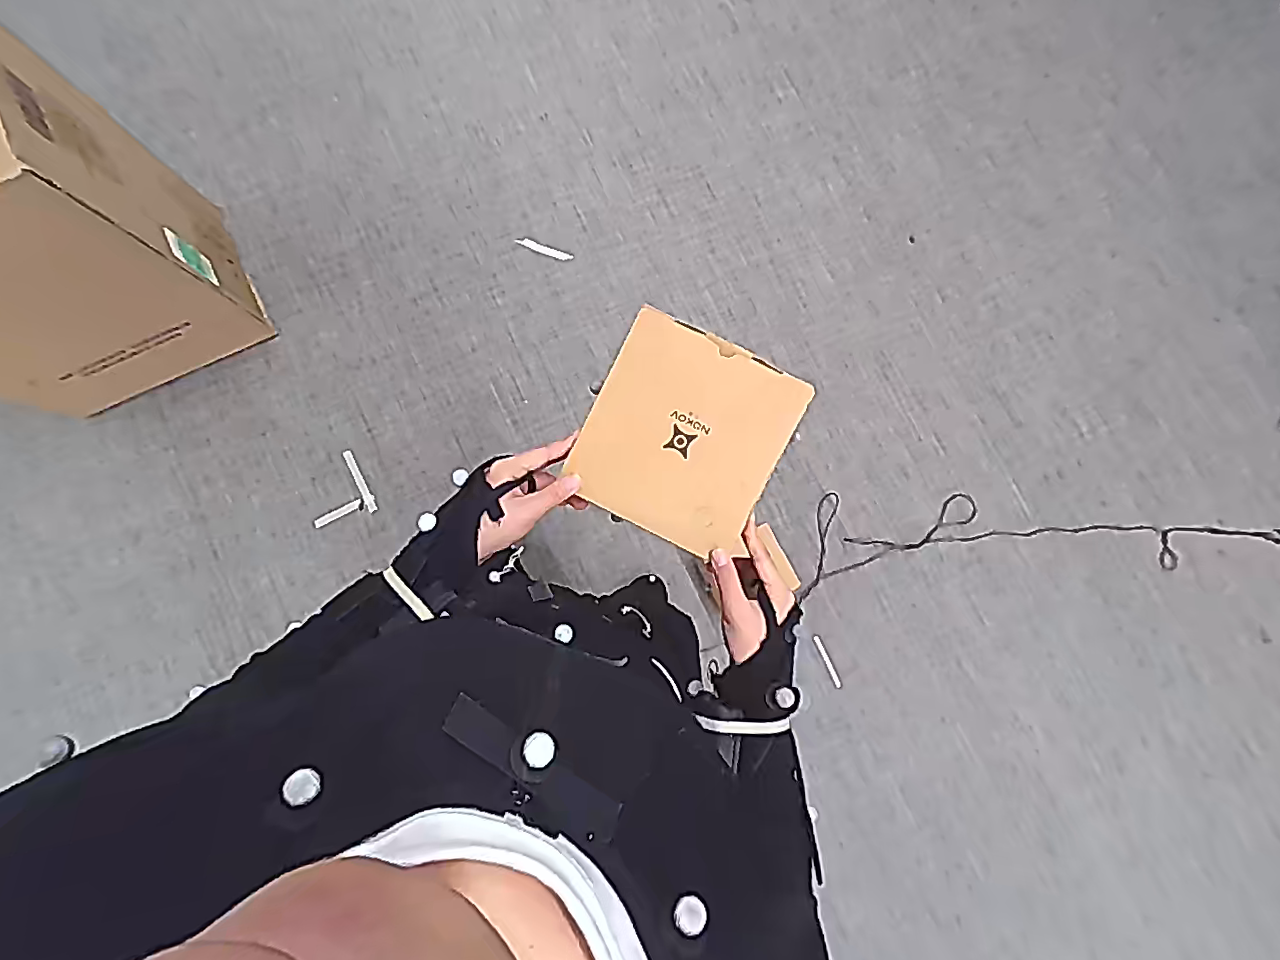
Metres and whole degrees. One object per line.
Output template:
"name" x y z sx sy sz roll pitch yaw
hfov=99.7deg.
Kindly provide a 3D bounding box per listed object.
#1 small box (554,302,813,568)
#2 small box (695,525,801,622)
"small box" 0.039 -0.039 0.532 0.168 0.176 0.179 26 92 1
"small box" 0.250 0.219 1.303 0.179 0.176 0.168 -27 84 -5
